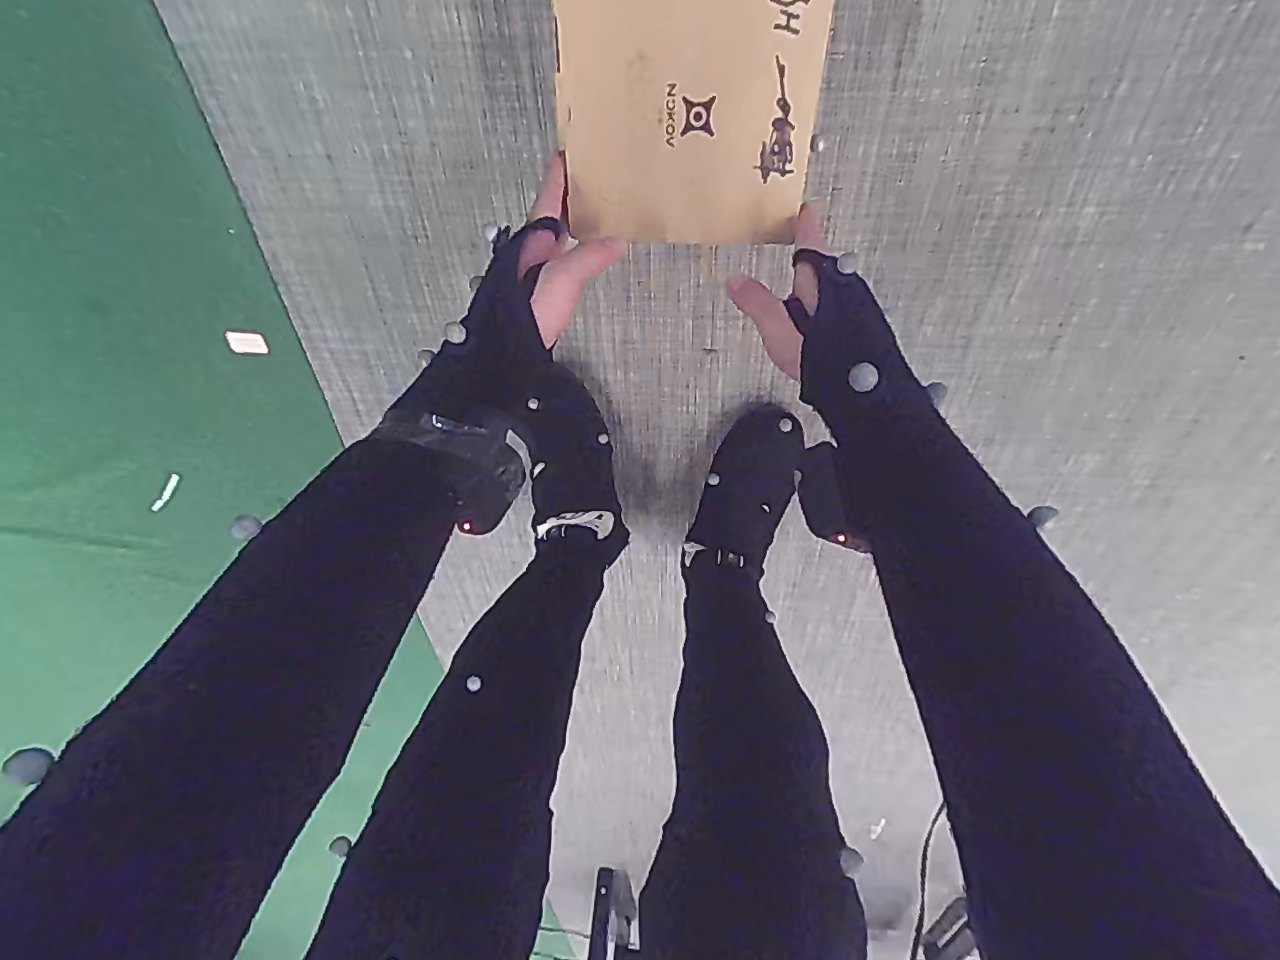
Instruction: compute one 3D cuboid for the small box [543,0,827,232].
[{"bbox_3d":[0.034,-0.302,0.418,0.179,0.176,0.168,4,128,5],"label":"small box"}]
